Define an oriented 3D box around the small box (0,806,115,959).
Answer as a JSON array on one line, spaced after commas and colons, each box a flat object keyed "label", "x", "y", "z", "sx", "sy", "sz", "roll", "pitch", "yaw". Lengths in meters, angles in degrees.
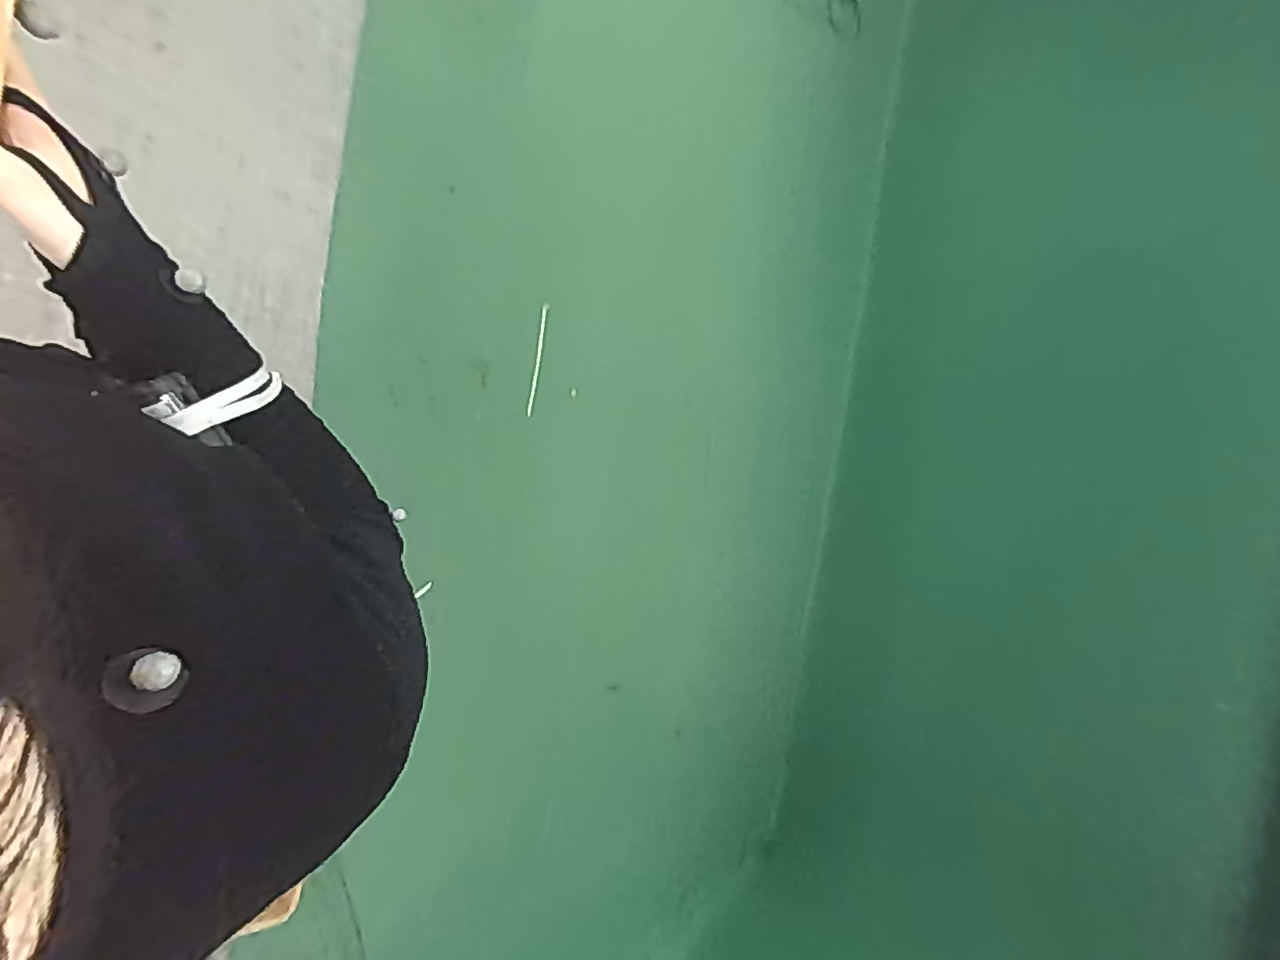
[{"label": "small box", "x": -1.117, "y": 0.740, "z": 1.005, "sx": 0.168, "sy": 0.176, "sz": 0.179, "roll": 14, "pitch": 86, "yaw": -48}]
